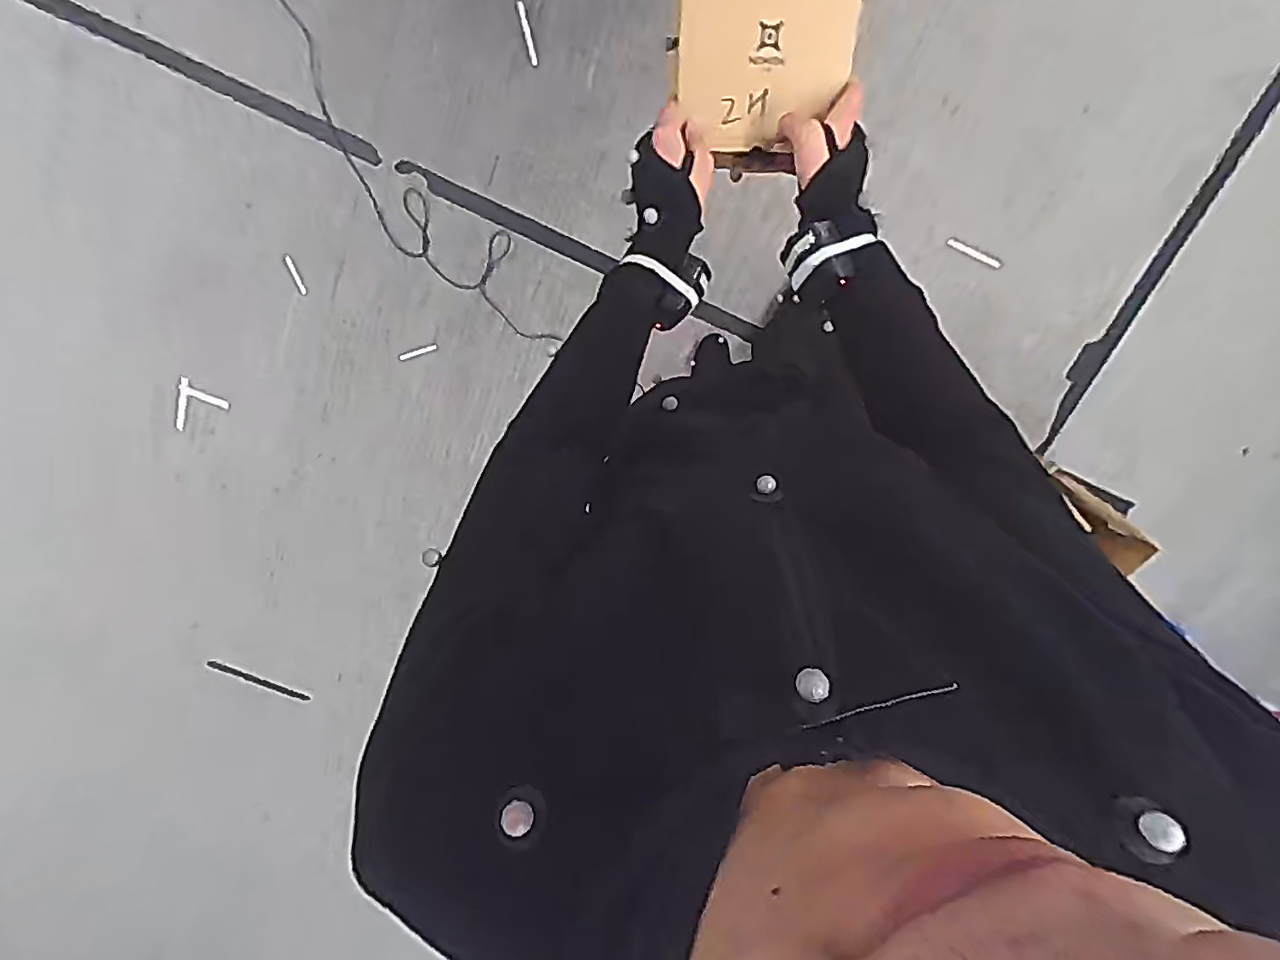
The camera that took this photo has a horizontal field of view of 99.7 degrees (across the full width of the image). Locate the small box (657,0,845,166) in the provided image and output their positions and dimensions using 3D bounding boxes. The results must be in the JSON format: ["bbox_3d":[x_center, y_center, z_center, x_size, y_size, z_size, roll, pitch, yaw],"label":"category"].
[{"bbox_3d":[0.103,-0.443,0.573,0.168,0.176,0.179,0,116,0],"label":"small box"}]
